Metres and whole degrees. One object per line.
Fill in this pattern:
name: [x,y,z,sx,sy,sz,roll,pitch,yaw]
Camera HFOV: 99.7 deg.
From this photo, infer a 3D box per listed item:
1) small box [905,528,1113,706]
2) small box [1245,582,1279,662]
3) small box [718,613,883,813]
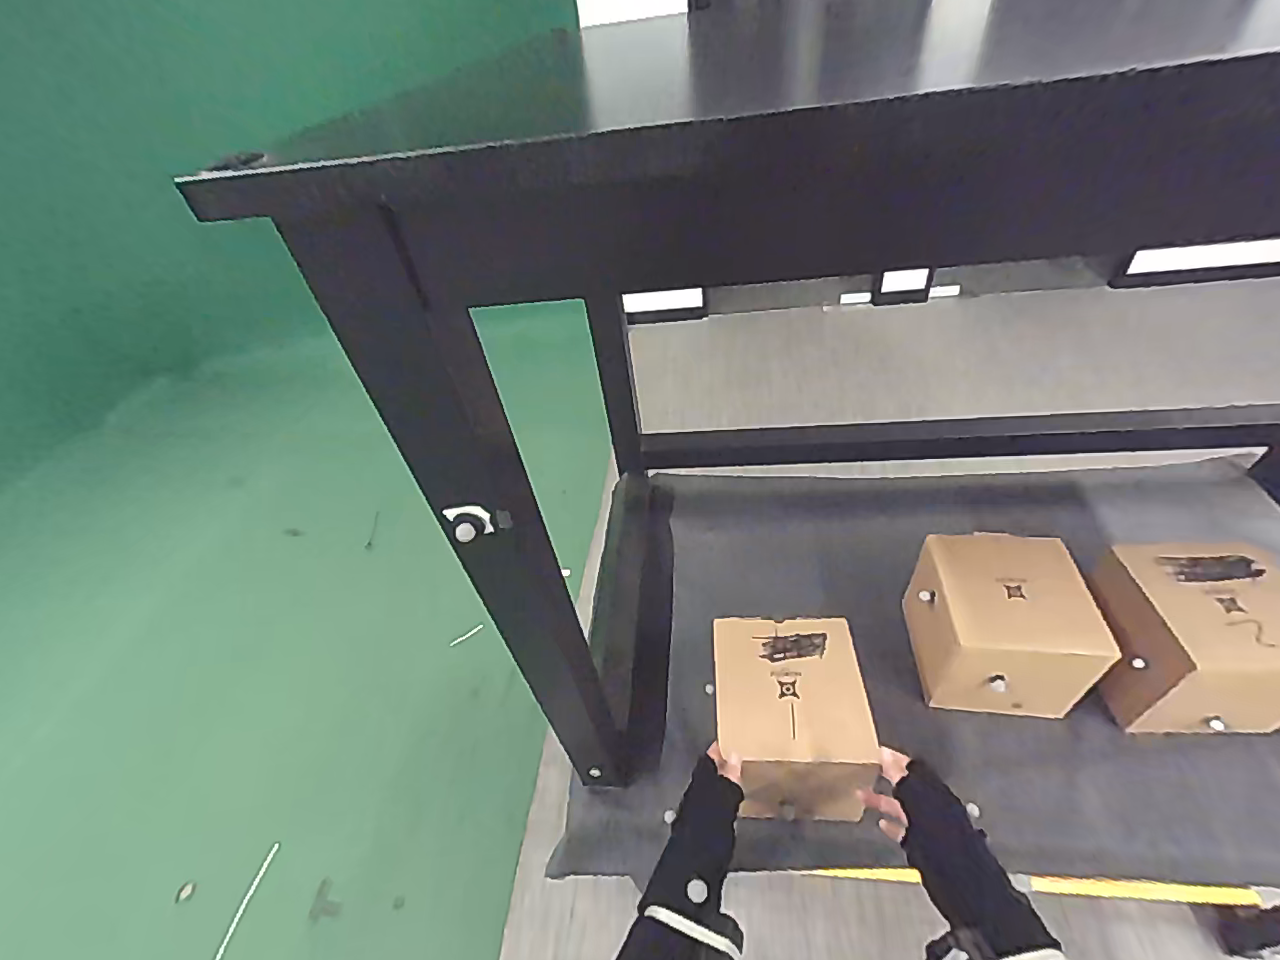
small box: [0.476,0.186,0.733,0.168,0.176,0.179,1,44,11]
small box: [0.915,0.191,0.642,0.168,0.176,0.179,-3,43,7]
small box: [0.181,0.286,0.673,0.168,0.176,0.179,-2,42,7]
